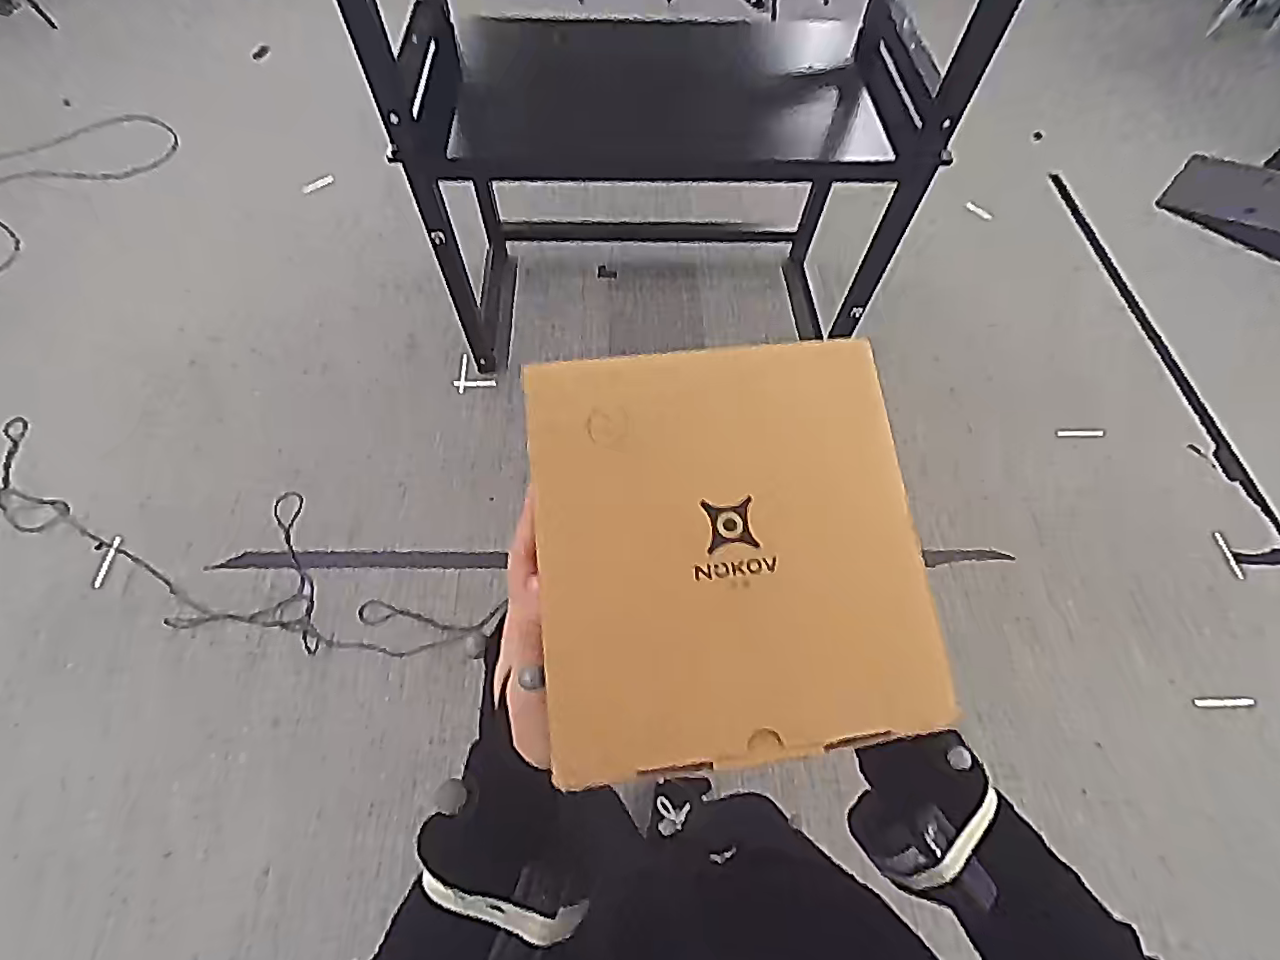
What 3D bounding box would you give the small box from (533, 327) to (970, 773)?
[{"bbox_3d":[0.035,0.038,0.304,0.168,0.176,0.179,-6,76,-6],"label":"small box"}]
